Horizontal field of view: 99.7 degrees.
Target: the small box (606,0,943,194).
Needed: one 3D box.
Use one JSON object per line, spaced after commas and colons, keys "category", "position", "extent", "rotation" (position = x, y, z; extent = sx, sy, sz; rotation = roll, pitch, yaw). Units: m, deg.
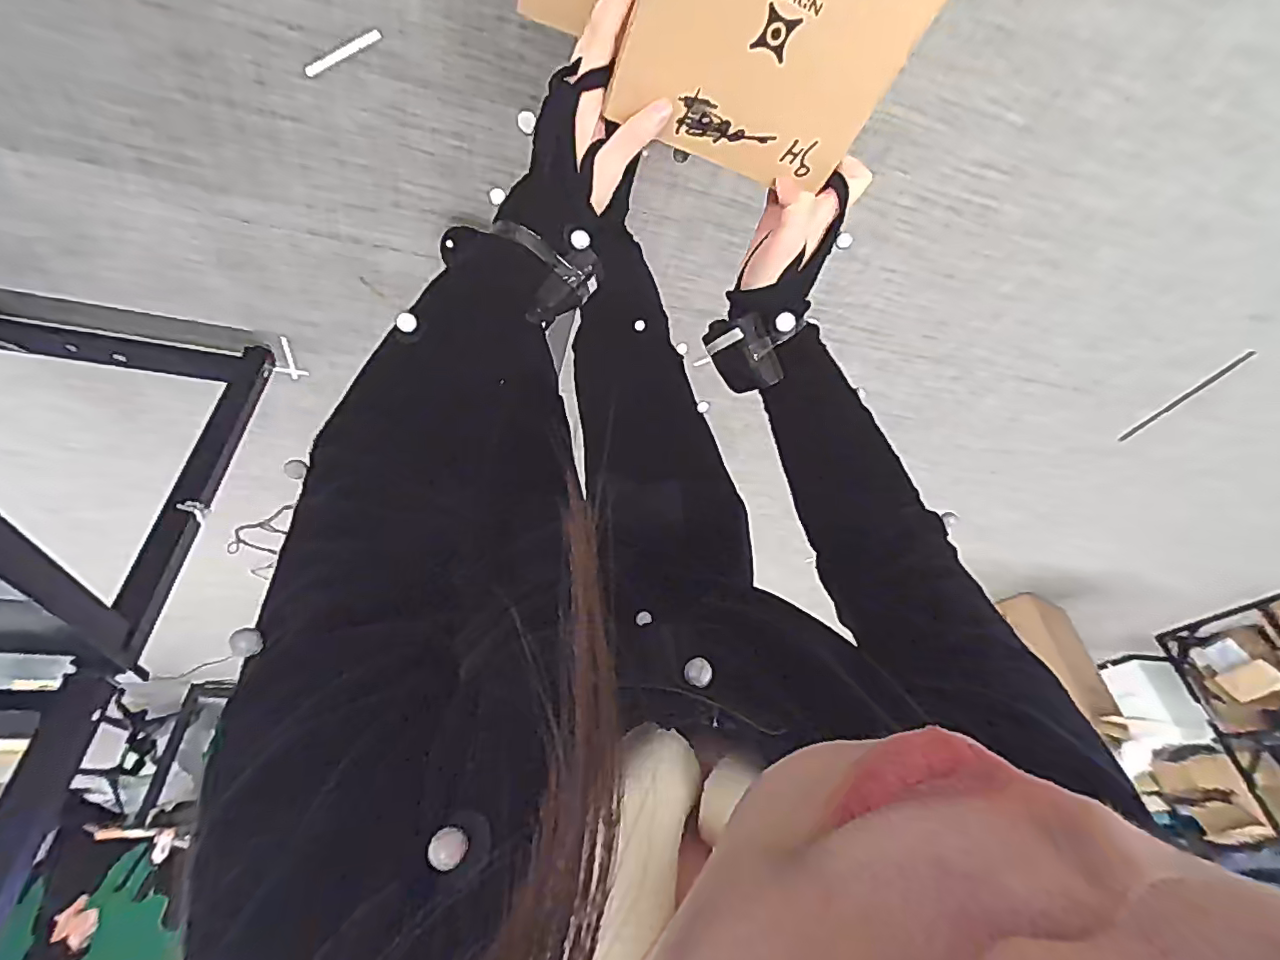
{"category": "small box", "position": [0.079, -0.336, 0.351], "extent": [0.168, 0.176, 0.179], "rotation": [11, 142, -20]}
